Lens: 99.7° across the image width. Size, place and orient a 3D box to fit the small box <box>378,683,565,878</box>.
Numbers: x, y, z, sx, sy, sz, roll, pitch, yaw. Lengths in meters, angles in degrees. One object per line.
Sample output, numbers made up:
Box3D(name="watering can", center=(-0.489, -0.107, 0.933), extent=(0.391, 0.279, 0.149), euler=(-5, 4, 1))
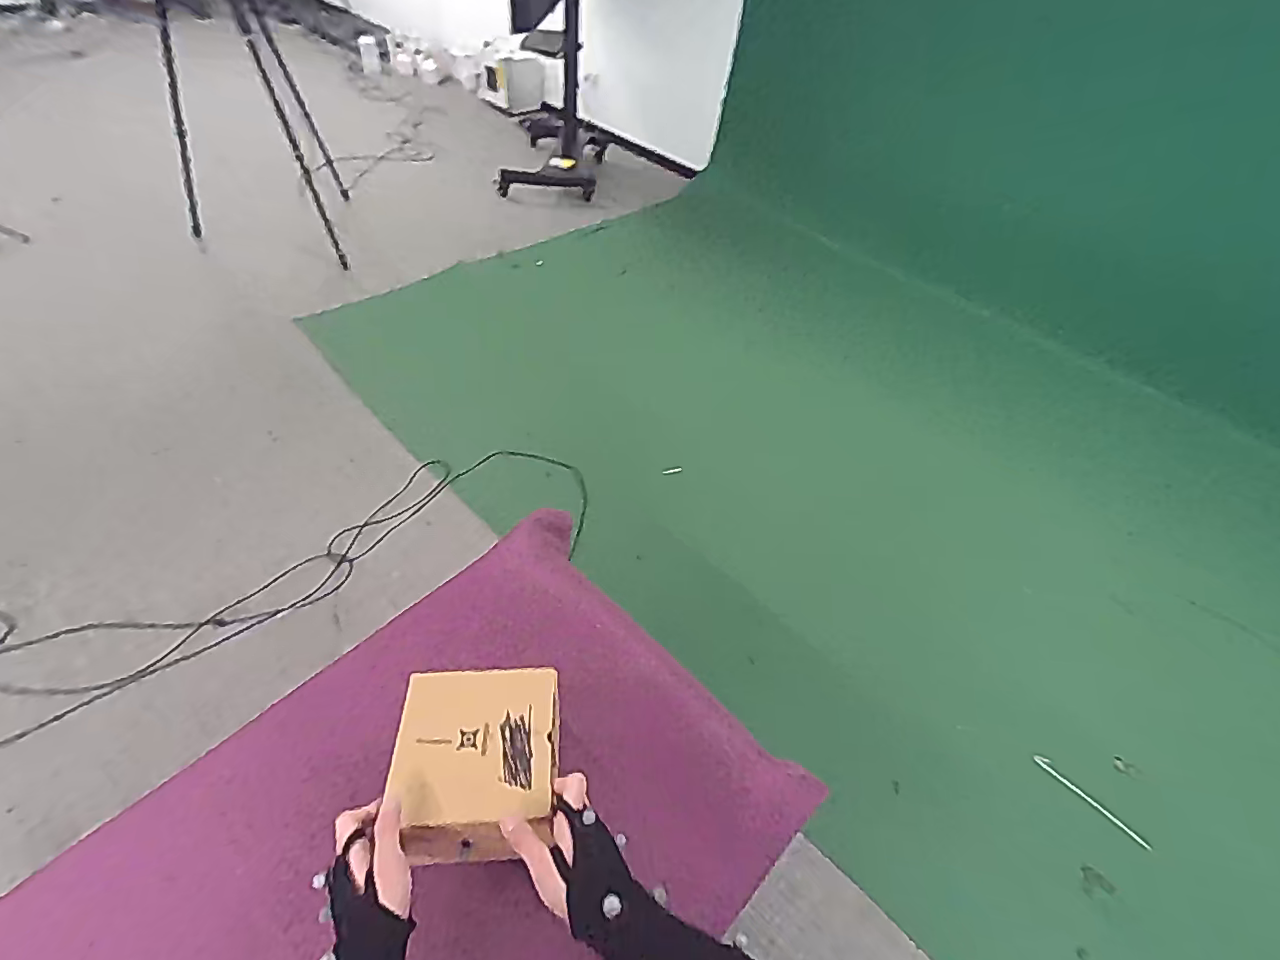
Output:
Box3D(name="small box", center=(-0.182, 0.359, 0.646), extent=(0.179, 0.176, 0.168), euler=(2, 44, -6))
